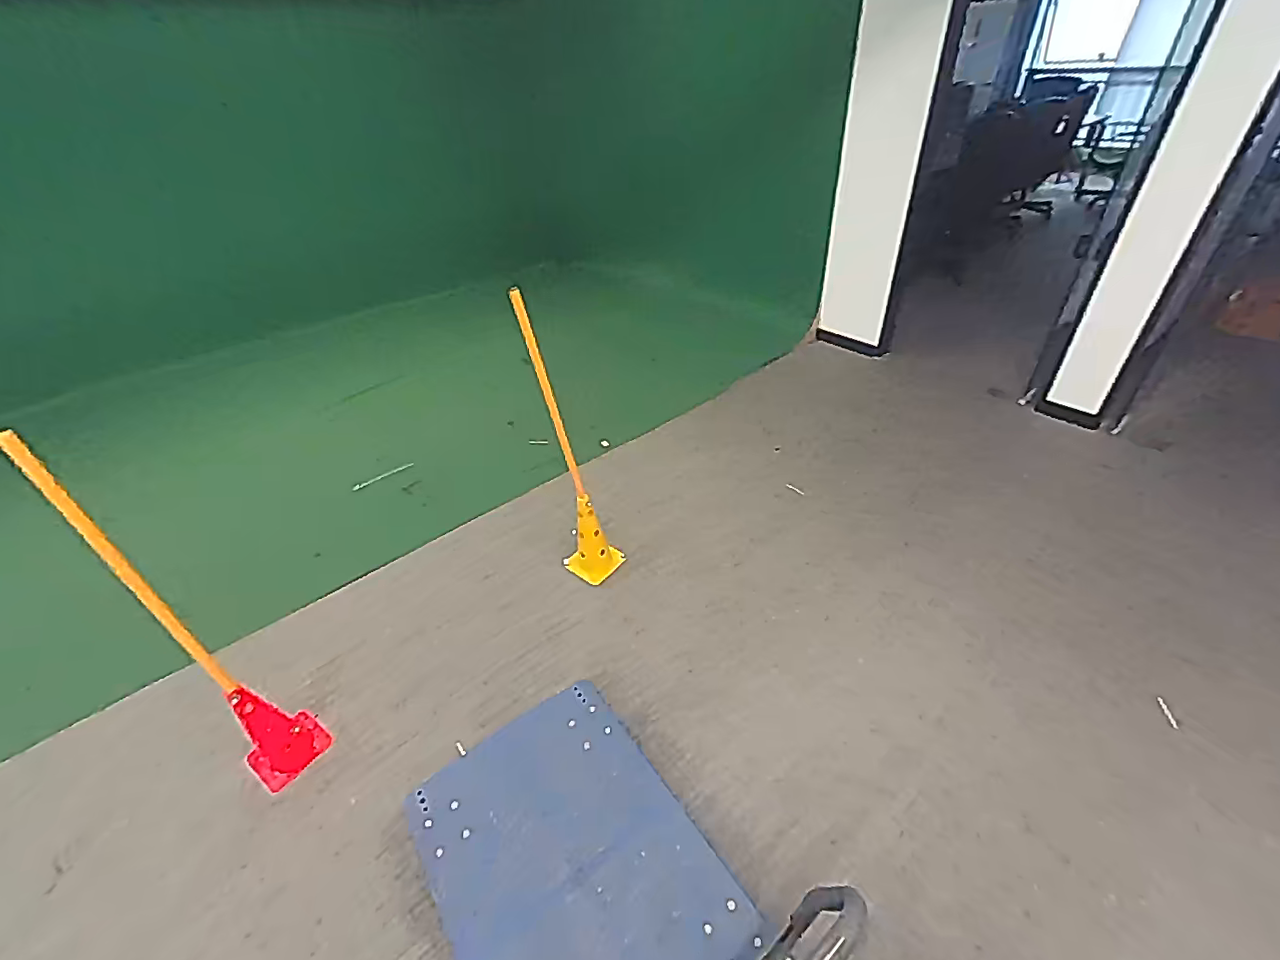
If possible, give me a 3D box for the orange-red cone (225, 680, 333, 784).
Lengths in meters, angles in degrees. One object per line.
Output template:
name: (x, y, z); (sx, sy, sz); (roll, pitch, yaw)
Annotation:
orange-red cone: (-1.120, 0.707, 1.612); (0.198, 0.360, 0.199); (22, 48, 30)
